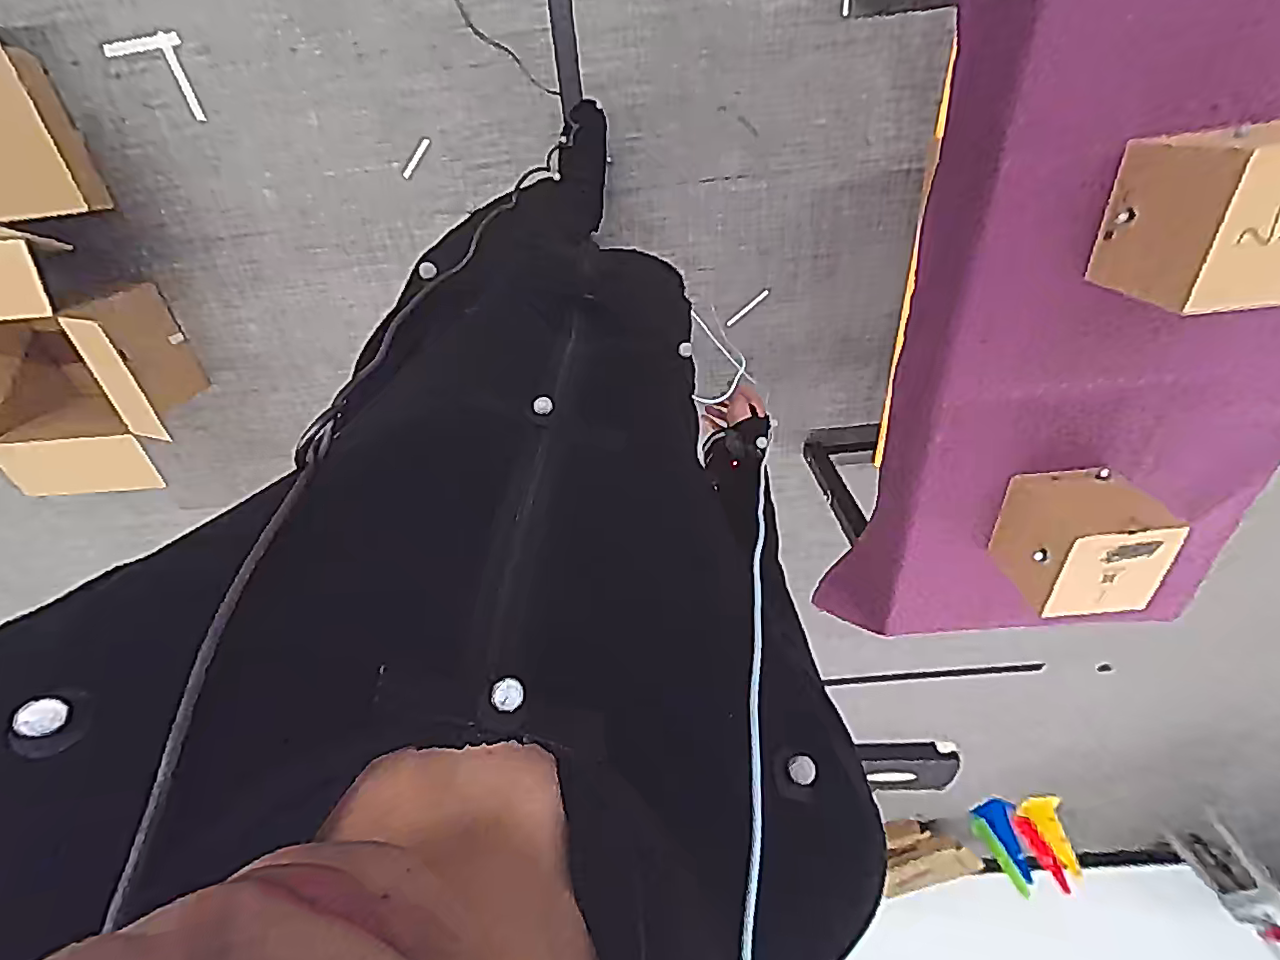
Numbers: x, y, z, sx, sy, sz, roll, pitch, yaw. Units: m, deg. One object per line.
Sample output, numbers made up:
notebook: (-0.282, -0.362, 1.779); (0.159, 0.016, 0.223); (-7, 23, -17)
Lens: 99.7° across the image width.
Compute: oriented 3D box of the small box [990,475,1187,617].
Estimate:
small box: (0.728, 0.103, 0.907); (0.168, 0.176, 0.179); (-5, 124, 3)

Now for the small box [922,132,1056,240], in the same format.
small box: (0.732, -0.632, 1.159); (0.168, 0.176, 0.179); (-6, 124, 3)
